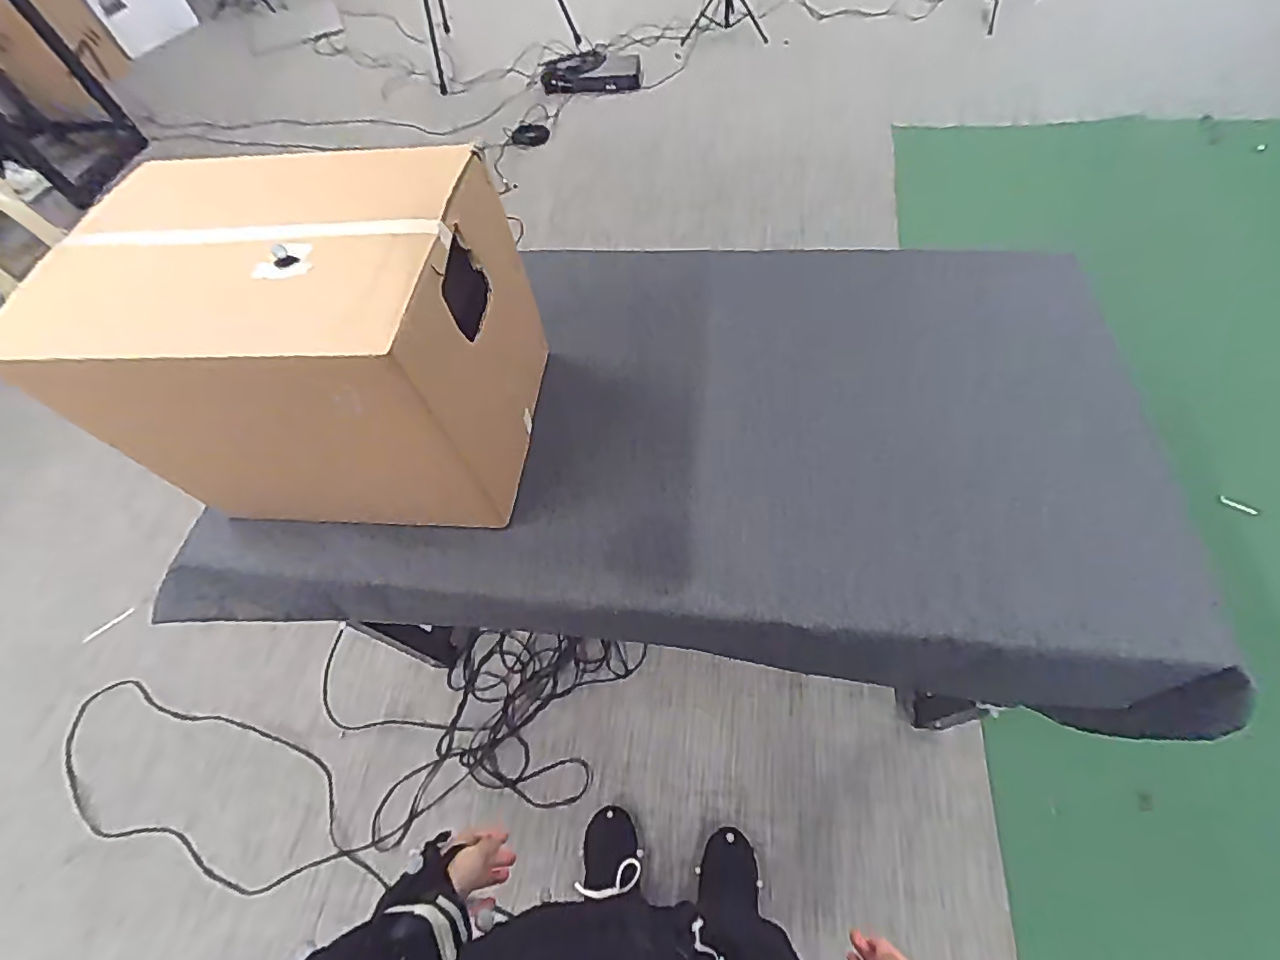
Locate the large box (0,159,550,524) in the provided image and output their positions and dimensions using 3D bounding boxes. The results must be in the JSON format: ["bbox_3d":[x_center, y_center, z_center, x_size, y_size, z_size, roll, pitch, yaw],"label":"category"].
[{"bbox_3d":[-0.356,-0.150,0.662,0.408,0.320,0.320,1,59,6],"label":"large box"}]
